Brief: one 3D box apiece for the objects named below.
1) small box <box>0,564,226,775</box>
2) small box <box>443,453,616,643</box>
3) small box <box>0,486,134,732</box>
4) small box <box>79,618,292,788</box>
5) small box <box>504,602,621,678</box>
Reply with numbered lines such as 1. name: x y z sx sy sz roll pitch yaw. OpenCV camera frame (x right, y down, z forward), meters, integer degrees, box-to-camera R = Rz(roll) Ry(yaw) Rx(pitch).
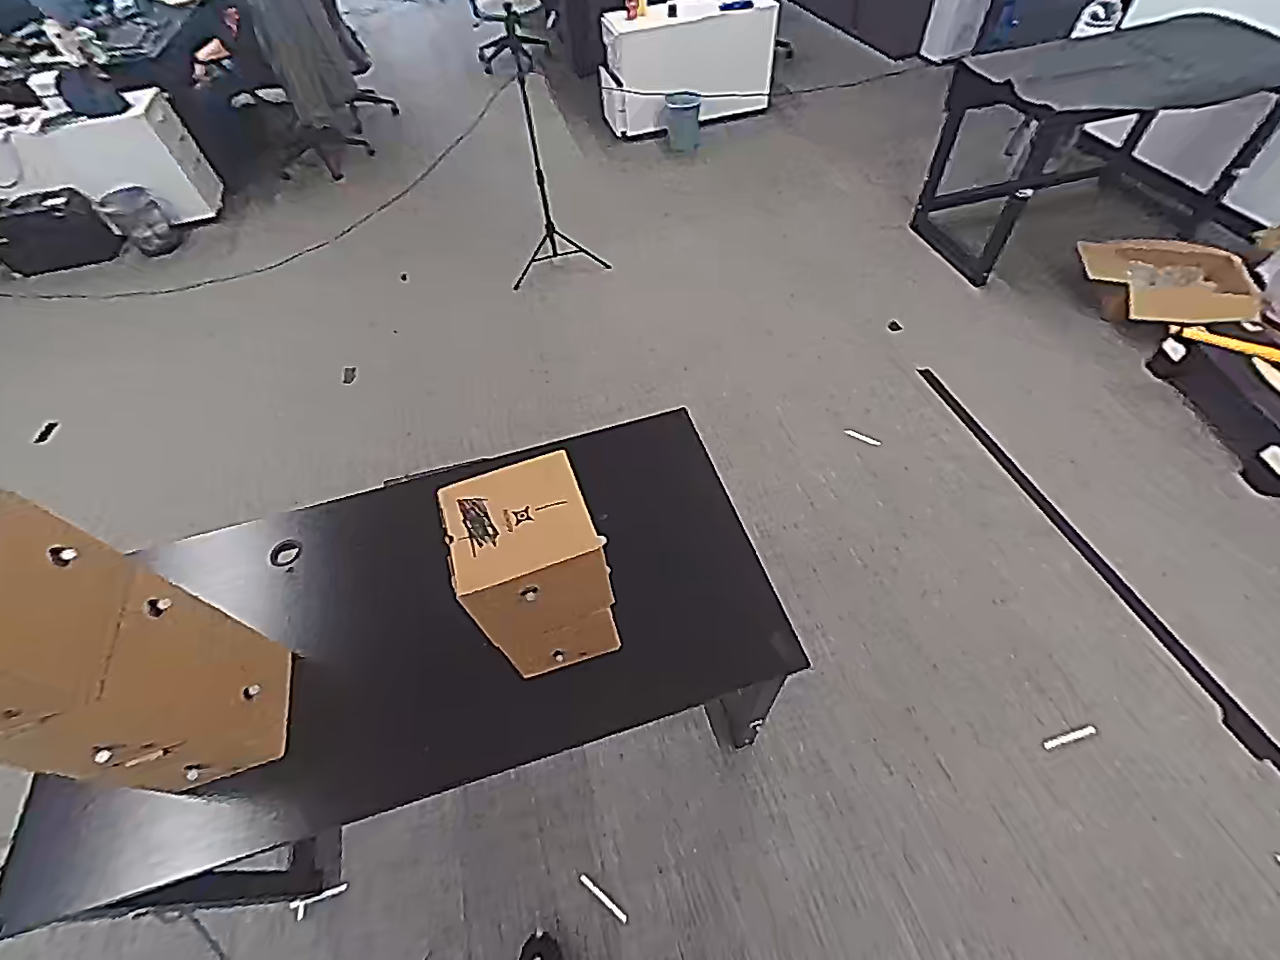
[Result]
1. small box: -0.657 0.236 0.667 0.168 0.176 0.179 -16 54 -7
2. small box: -0.143 0.096 0.732 0.179 0.176 0.168 -18 55 -10
3. small box: -0.666 0.139 0.536 0.168 0.176 0.179 -17 55 -7
4. small box: -0.647 0.335 0.798 0.168 0.176 0.179 -17 55 -8
5. small box: -0.135 0.189 0.868 0.168 0.176 0.179 -16 54 -7
